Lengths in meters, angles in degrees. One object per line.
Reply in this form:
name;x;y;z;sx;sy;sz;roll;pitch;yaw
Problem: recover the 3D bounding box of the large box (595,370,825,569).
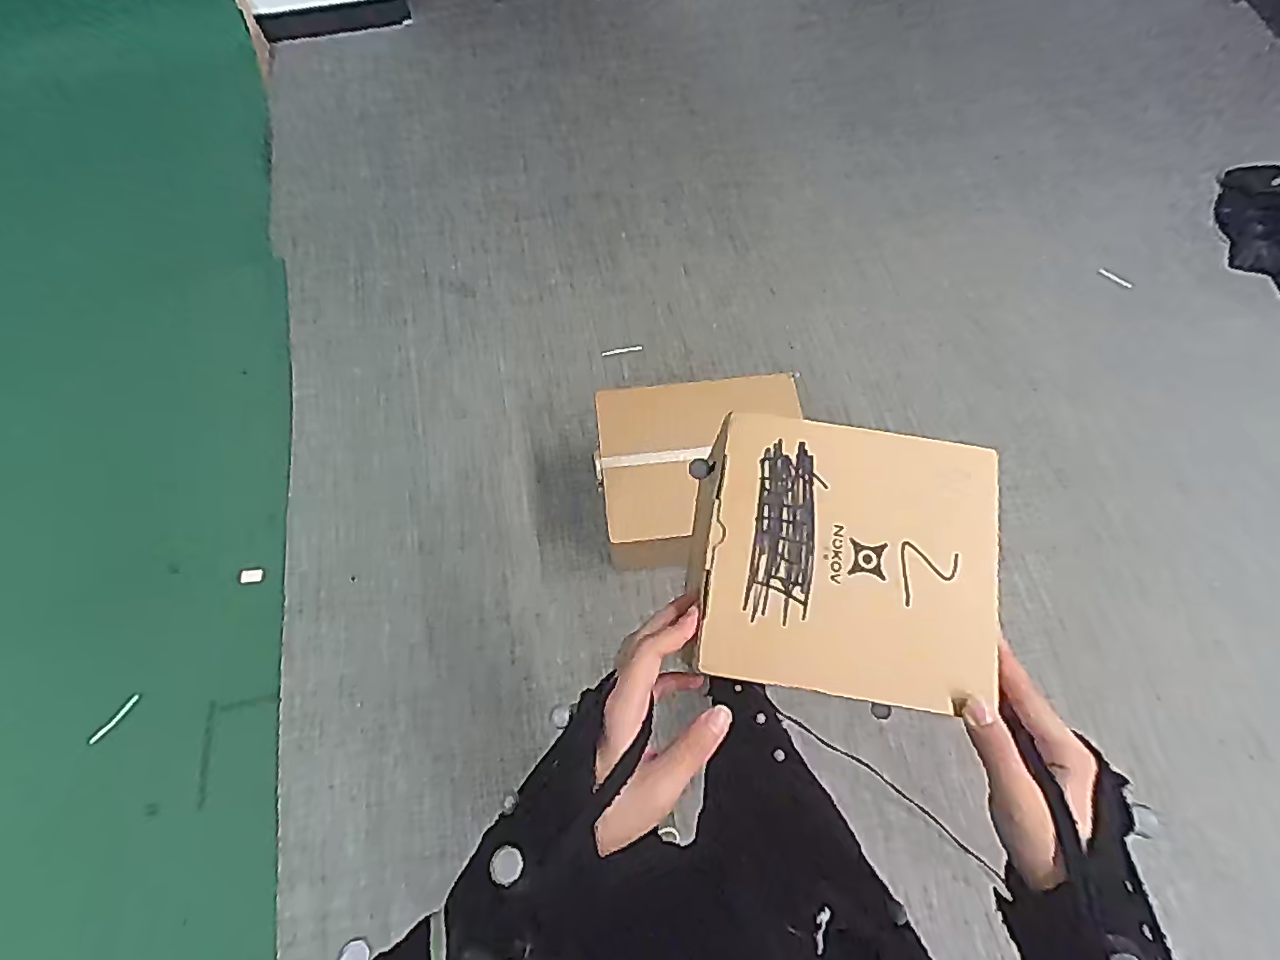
large box;0.122;-0.008;1.170;0.408;0.320;0.320;-6;72;-4
